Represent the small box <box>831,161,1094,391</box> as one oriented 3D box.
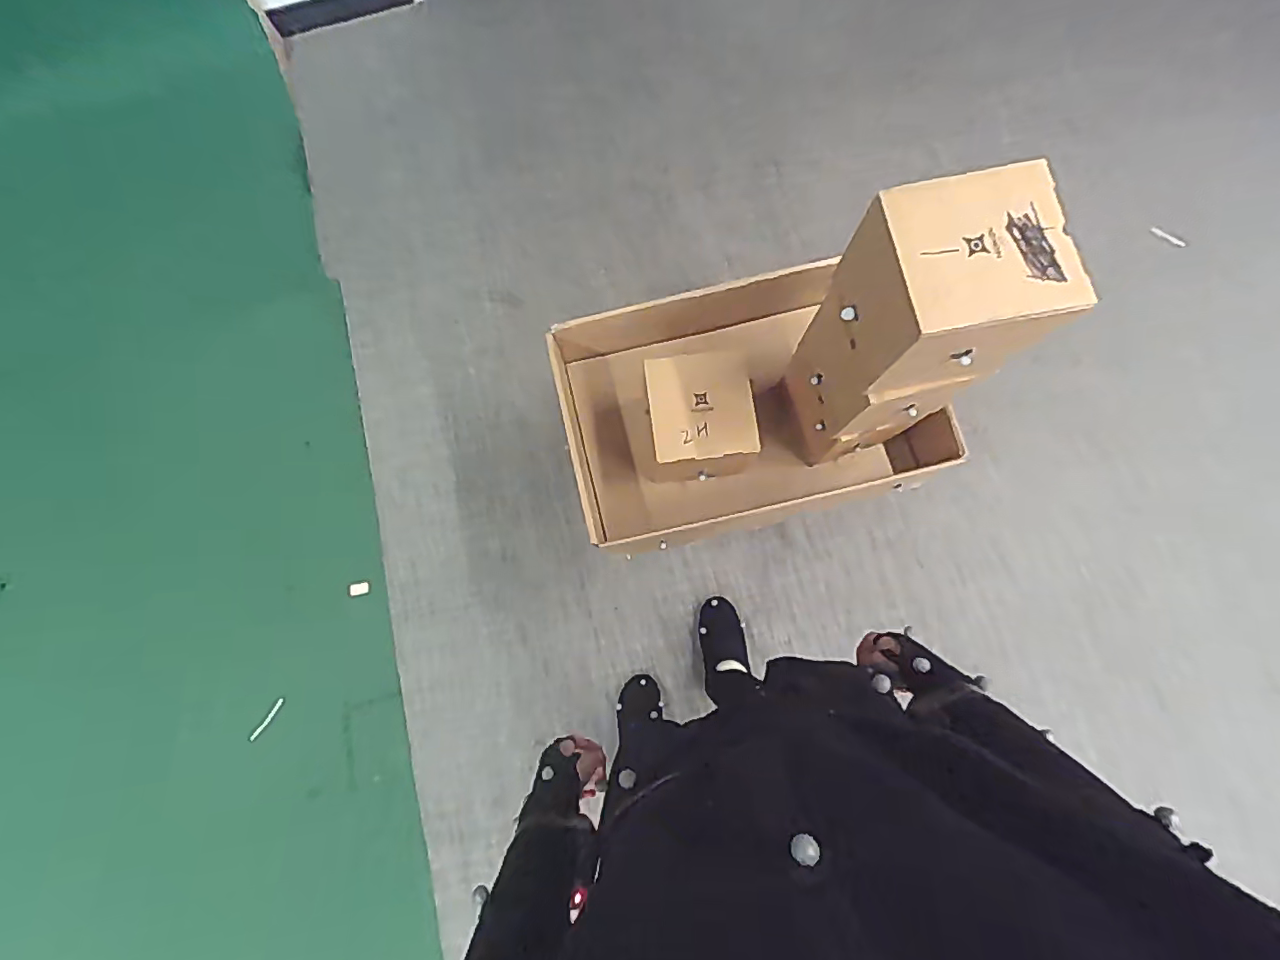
[{"bbox_3d":[0.341,-0.215,0.611,0.179,0.176,0.168,-10,78,1],"label":"small box"}]
